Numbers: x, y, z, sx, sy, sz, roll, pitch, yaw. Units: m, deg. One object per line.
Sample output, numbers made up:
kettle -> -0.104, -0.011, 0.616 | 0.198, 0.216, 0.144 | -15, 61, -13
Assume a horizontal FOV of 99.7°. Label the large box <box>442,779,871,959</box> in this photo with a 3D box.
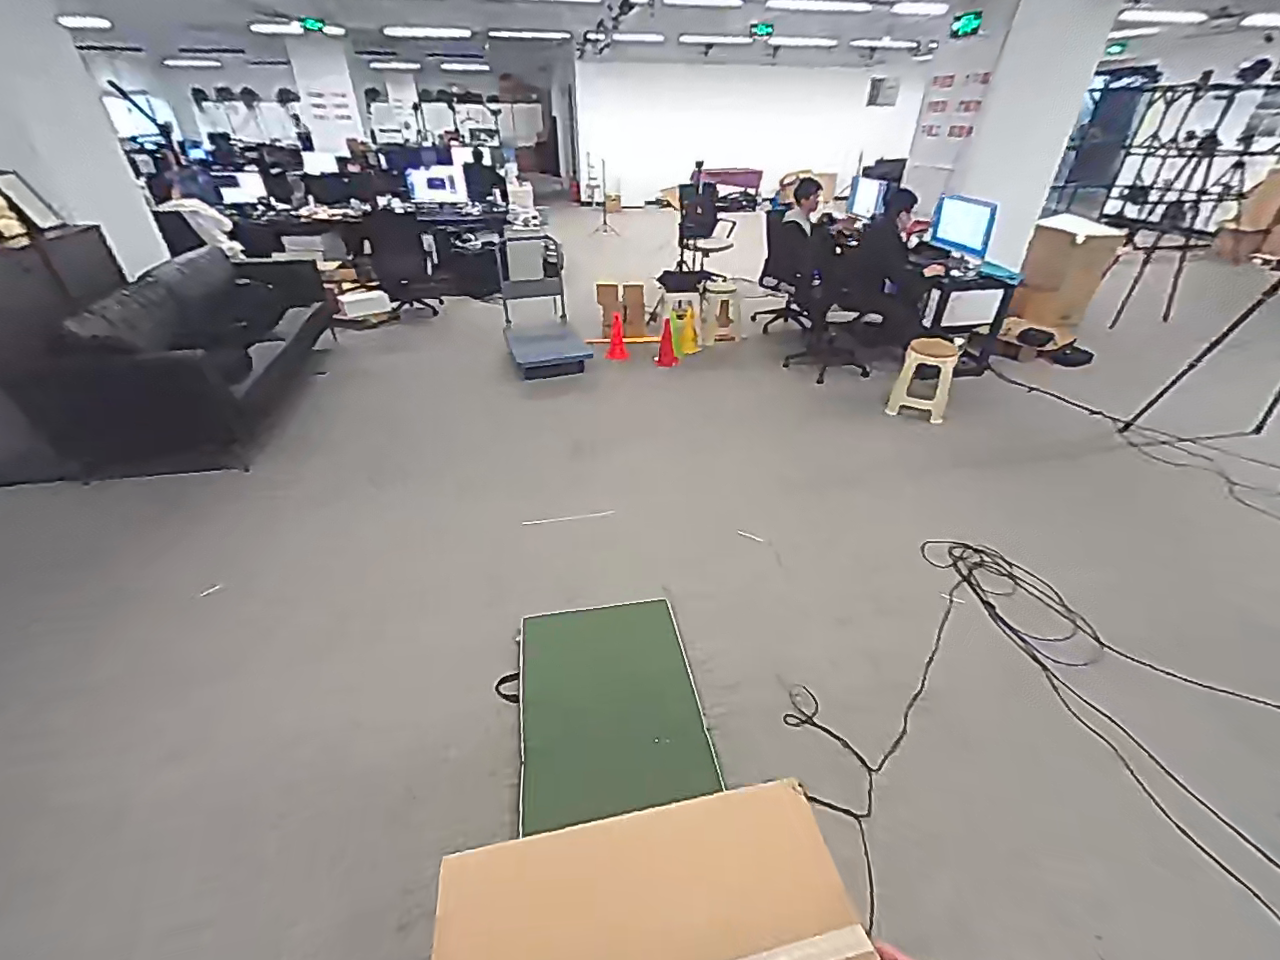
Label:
large box -> 0.021, 0.591, 0.575 | 0.408, 0.320, 0.320 | -7, 36, -10
